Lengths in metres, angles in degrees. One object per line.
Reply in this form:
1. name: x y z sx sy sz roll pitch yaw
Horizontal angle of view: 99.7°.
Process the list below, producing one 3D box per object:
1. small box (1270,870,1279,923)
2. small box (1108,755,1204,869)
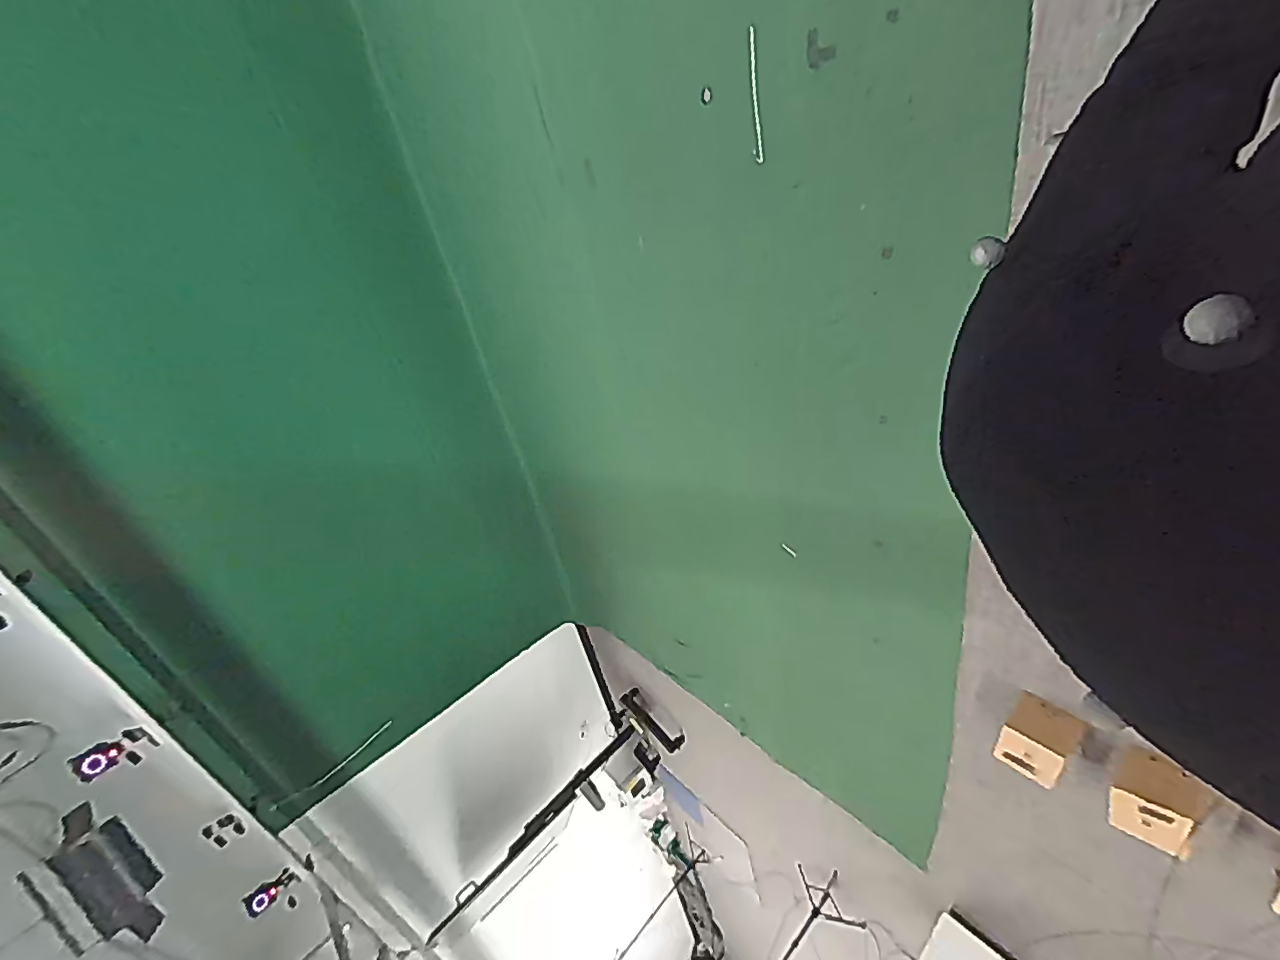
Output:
1. small box: 1.639 0.980 1.270 0.168 0.176 0.179 17 129 48
2. small box: 1.436 0.913 1.506 0.168 0.176 0.179 12 127 52
